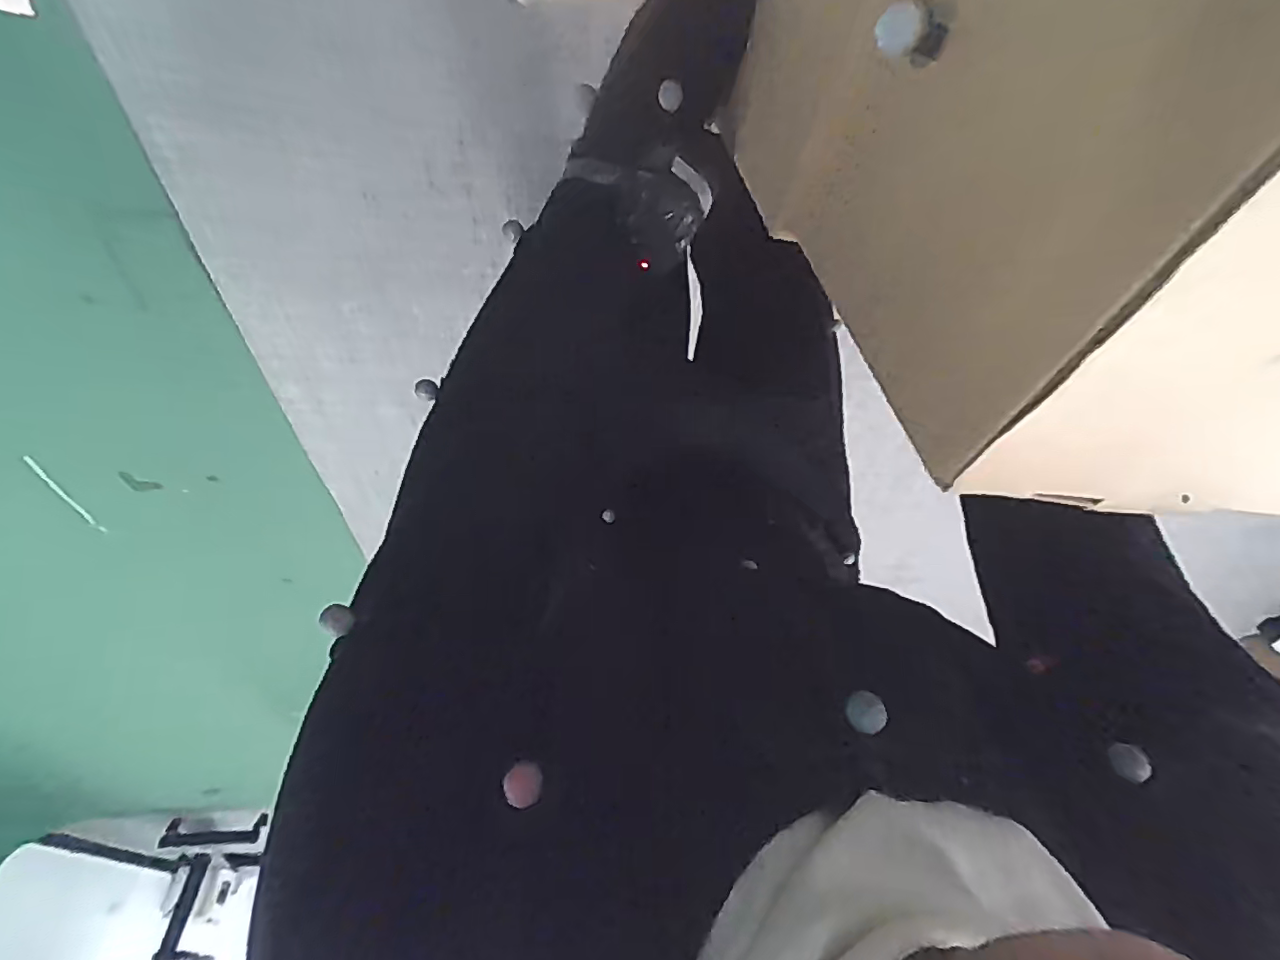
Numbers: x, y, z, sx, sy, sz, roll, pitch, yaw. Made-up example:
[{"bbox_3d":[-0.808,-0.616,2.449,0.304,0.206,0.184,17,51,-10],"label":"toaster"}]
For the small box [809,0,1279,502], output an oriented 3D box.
[{"bbox_3d":[0.173,-0.114,0.171,0.168,0.176,0.179,4,141,-12],"label":"small box"}]
